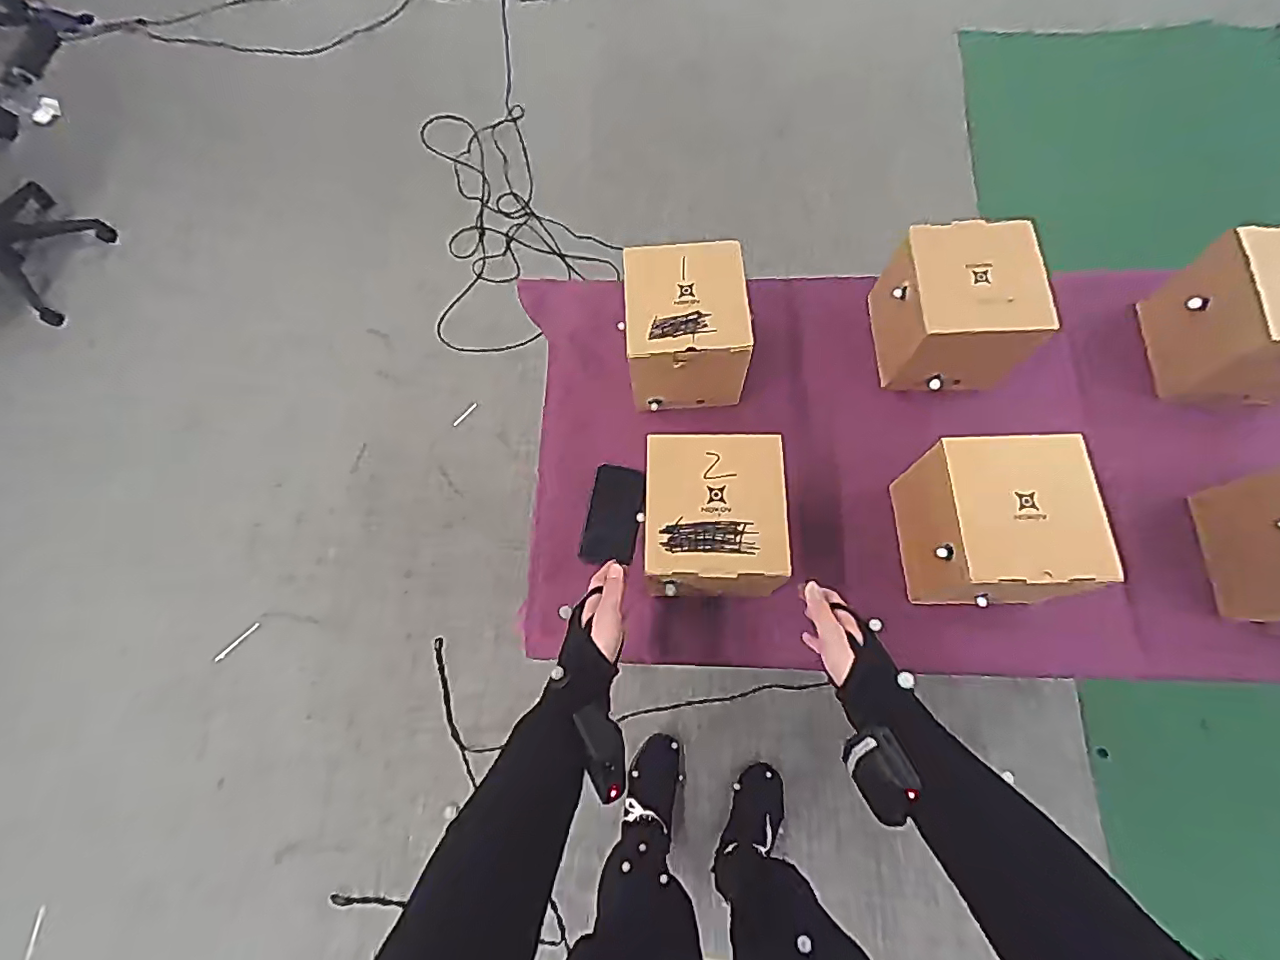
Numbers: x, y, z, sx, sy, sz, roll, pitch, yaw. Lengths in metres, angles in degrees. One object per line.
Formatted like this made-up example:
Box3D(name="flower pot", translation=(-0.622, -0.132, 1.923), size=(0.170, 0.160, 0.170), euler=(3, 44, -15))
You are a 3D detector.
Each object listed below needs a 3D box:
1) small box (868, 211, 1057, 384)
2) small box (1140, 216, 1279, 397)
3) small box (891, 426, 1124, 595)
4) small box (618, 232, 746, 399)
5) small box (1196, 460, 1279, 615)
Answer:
Box3D(name="small box", translation=(0.446, -0.256, 0.783), size=(0.168, 0.176, 0.179), euler=(-1, 72, 4))
Box3D(name="small box", translation=(0.855, -0.234, 0.750), size=(0.168, 0.176, 0.179), euler=(2, 72, 5))
Box3D(name="small box", translation=(0.438, 0.046, 0.682), size=(0.168, 0.176, 0.179), euler=(-2, 71, 3))
Box3D(name="small box", translation=(0.058, -0.229, 0.795), size=(0.168, 0.176, 0.179), euler=(-4, 71, 2))
Box3D(name="small box", translation=(0.837, 0.066, 0.648), size=(0.168, 0.176, 0.179), euler=(2, 72, 5))
